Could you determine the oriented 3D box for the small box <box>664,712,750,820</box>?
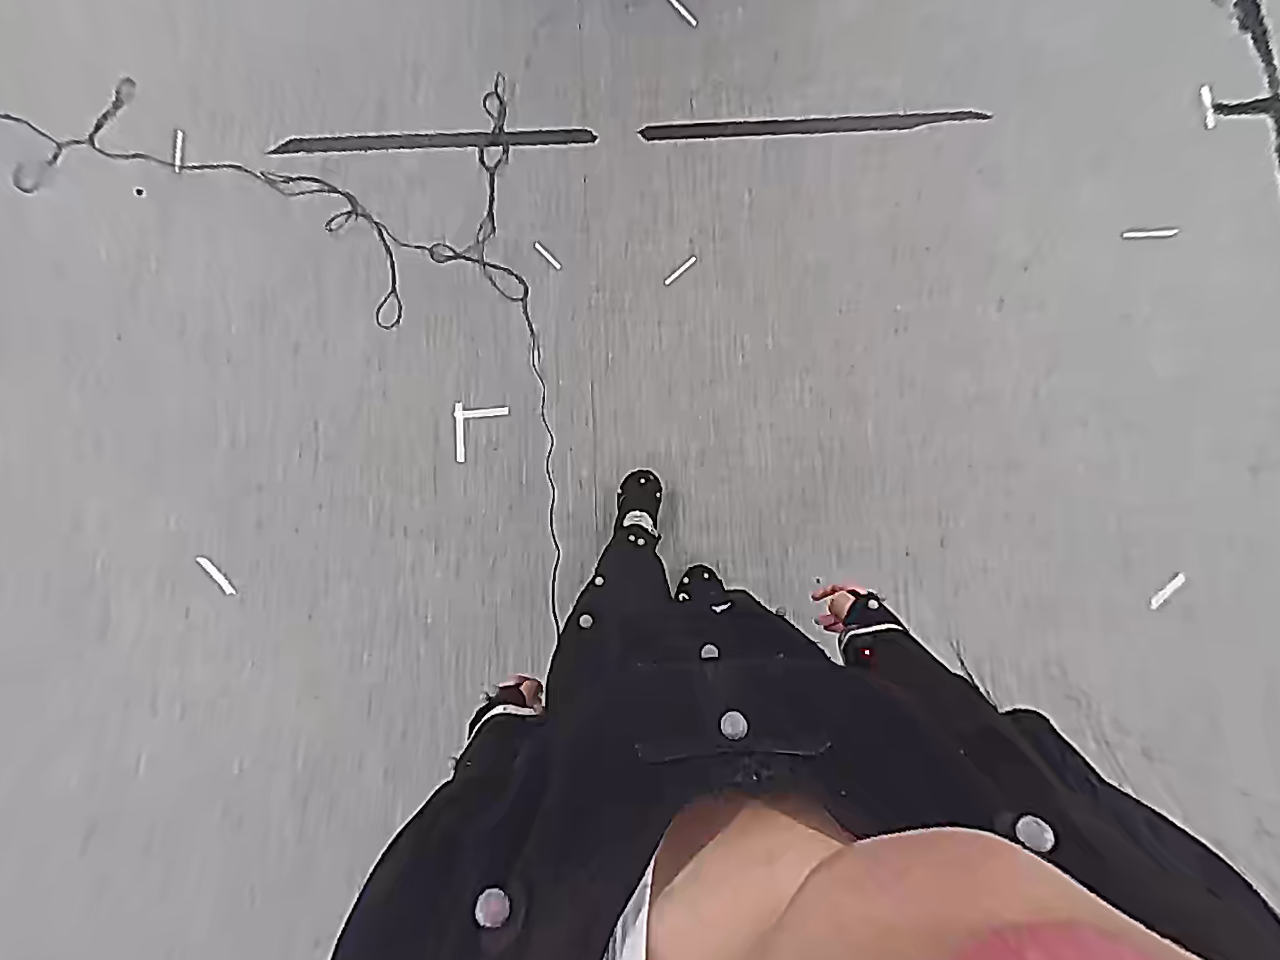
[{"bbox_3d":[0.143,0.627,1.200,0.179,0.176,0.168,-2,84,1],"label":"small box"}]
